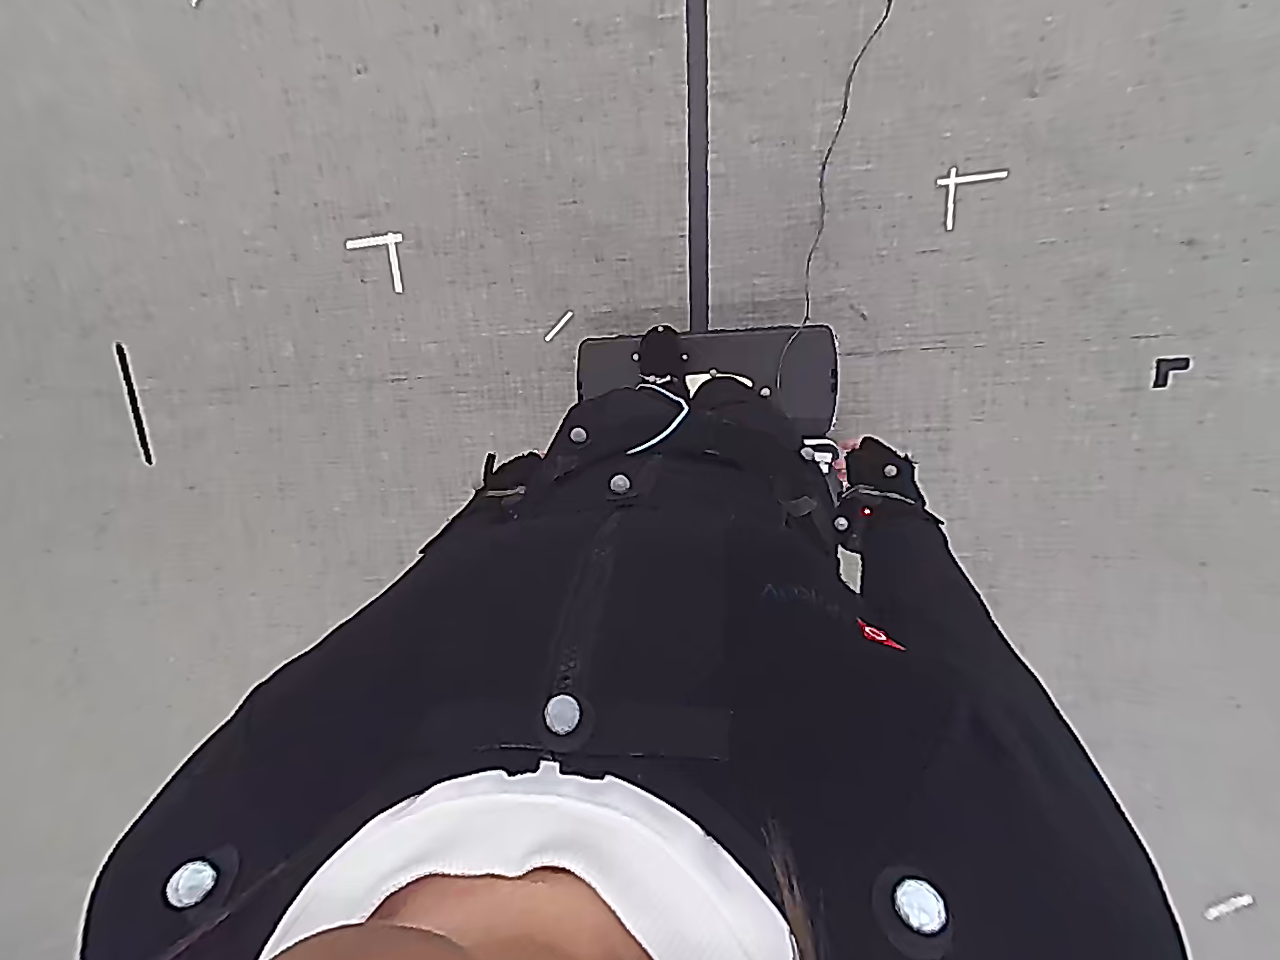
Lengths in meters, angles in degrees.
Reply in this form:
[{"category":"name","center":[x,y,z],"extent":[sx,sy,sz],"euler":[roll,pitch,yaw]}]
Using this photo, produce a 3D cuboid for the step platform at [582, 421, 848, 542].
[{"category":"step platform","center":[0.188,0.007,1.436],"extent":[0.684,0.204,0.286],"euler":[-2,101,10]}]
